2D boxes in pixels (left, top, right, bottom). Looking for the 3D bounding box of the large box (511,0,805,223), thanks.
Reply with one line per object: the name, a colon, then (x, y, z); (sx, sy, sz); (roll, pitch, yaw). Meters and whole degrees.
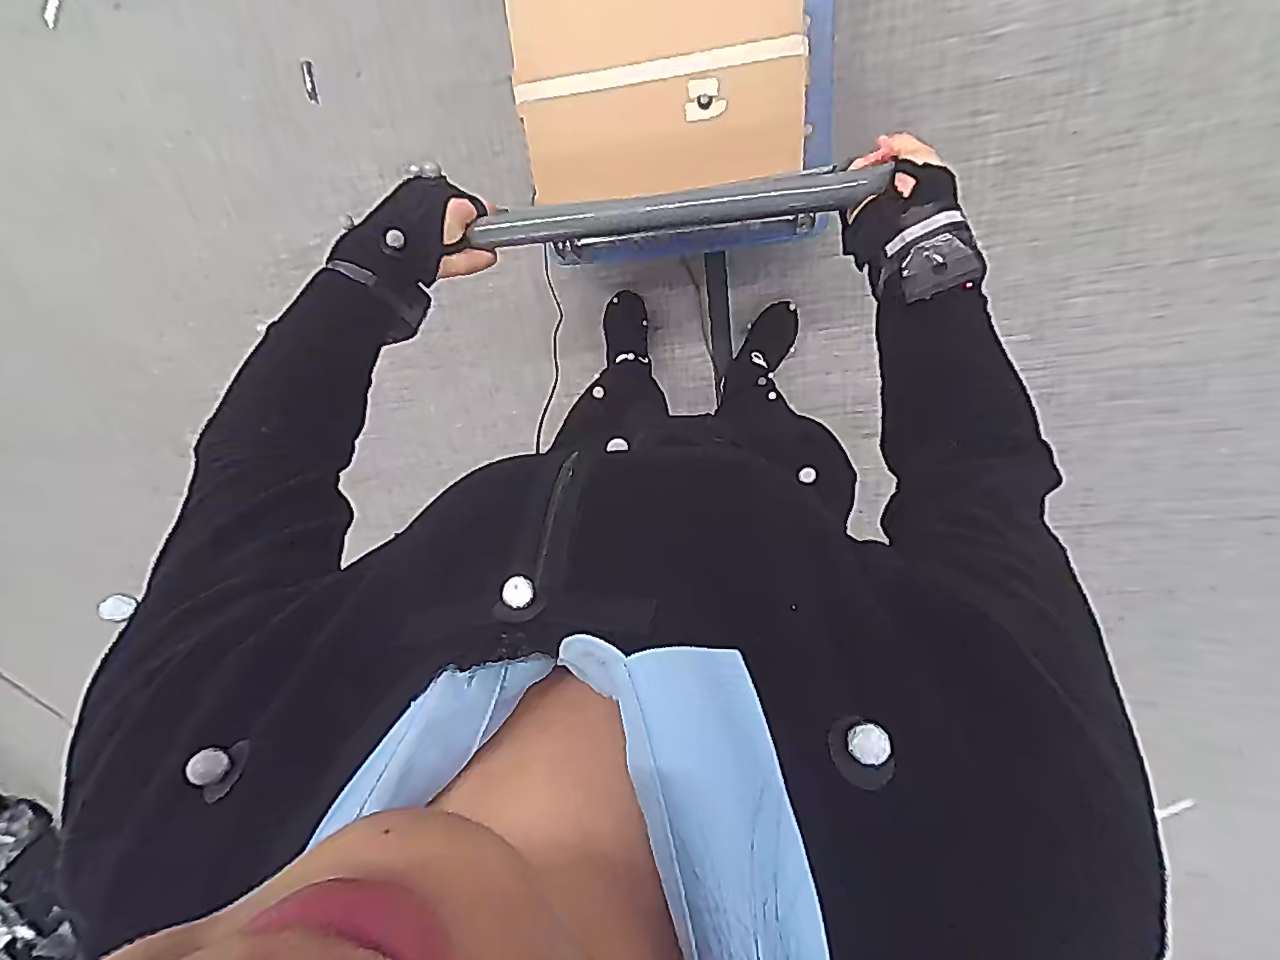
large box: (0.046, -0.627, 0.902); (0.408, 0.320, 0.320); (-2, 114, 9)
